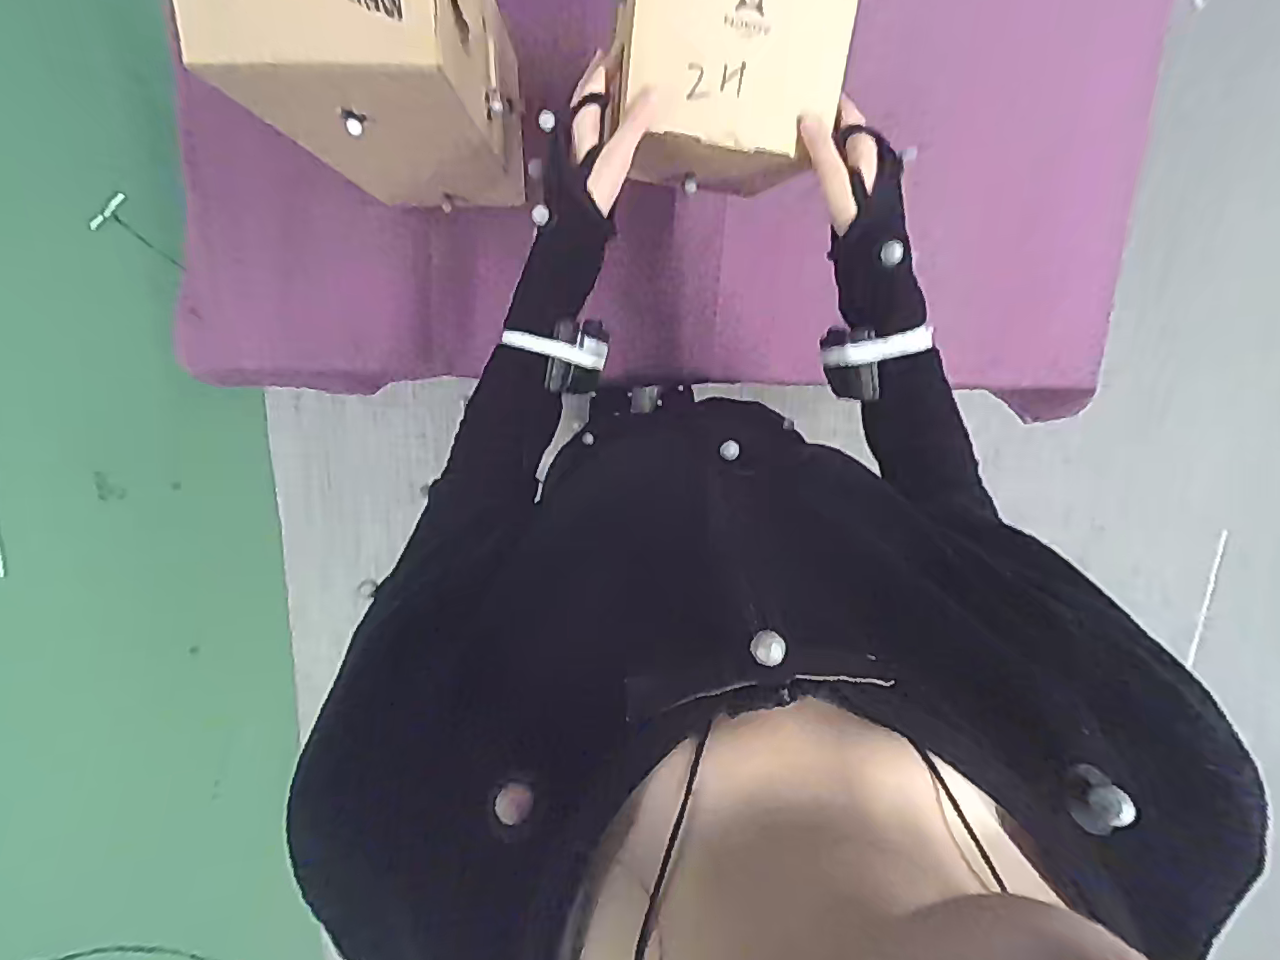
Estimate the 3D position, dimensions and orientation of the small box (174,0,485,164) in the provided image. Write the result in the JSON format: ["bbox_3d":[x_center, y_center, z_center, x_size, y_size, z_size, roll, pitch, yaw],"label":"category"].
[{"bbox_3d":[-0.232,-0.377,0.439,0.179,0.176,0.168,0,102,-1],"label":"small box"}]

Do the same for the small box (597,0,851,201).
[{"bbox_3d":[0.057,-0.359,0.466,0.168,0.176,0.179,4,110,-11],"label":"small box"}]

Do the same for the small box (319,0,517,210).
[{"bbox_3d":[-0.237,-0.411,0.601,0.179,0.176,0.168,-2,102,-2],"label":"small box"}]
